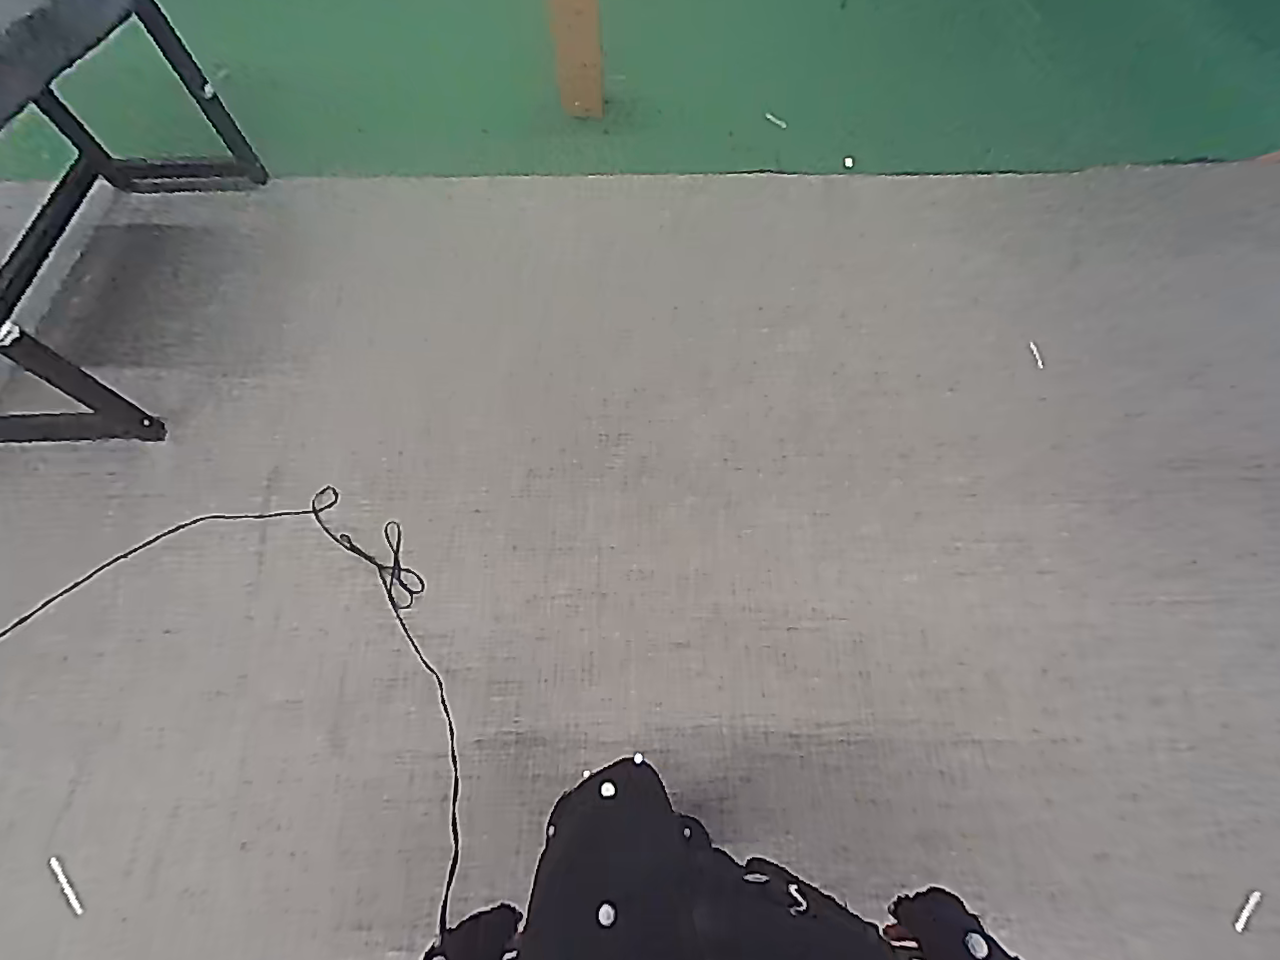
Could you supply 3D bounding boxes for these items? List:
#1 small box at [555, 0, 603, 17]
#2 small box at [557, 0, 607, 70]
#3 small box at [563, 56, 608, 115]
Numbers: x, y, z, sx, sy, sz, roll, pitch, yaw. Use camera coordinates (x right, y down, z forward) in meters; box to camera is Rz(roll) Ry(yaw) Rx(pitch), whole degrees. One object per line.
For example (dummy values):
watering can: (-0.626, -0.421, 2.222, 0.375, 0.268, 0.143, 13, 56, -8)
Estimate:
small box: (-0.220, -1.783, 1.918, 0.168, 0.176, 0.179, 2, 63, 1)
small box: (-0.216, -1.706, 2.064, 0.168, 0.176, 0.179, 2, 64, 2)
small box: (-0.219, -1.631, 2.209, 0.168, 0.176, 0.179, 1, 66, 1)
